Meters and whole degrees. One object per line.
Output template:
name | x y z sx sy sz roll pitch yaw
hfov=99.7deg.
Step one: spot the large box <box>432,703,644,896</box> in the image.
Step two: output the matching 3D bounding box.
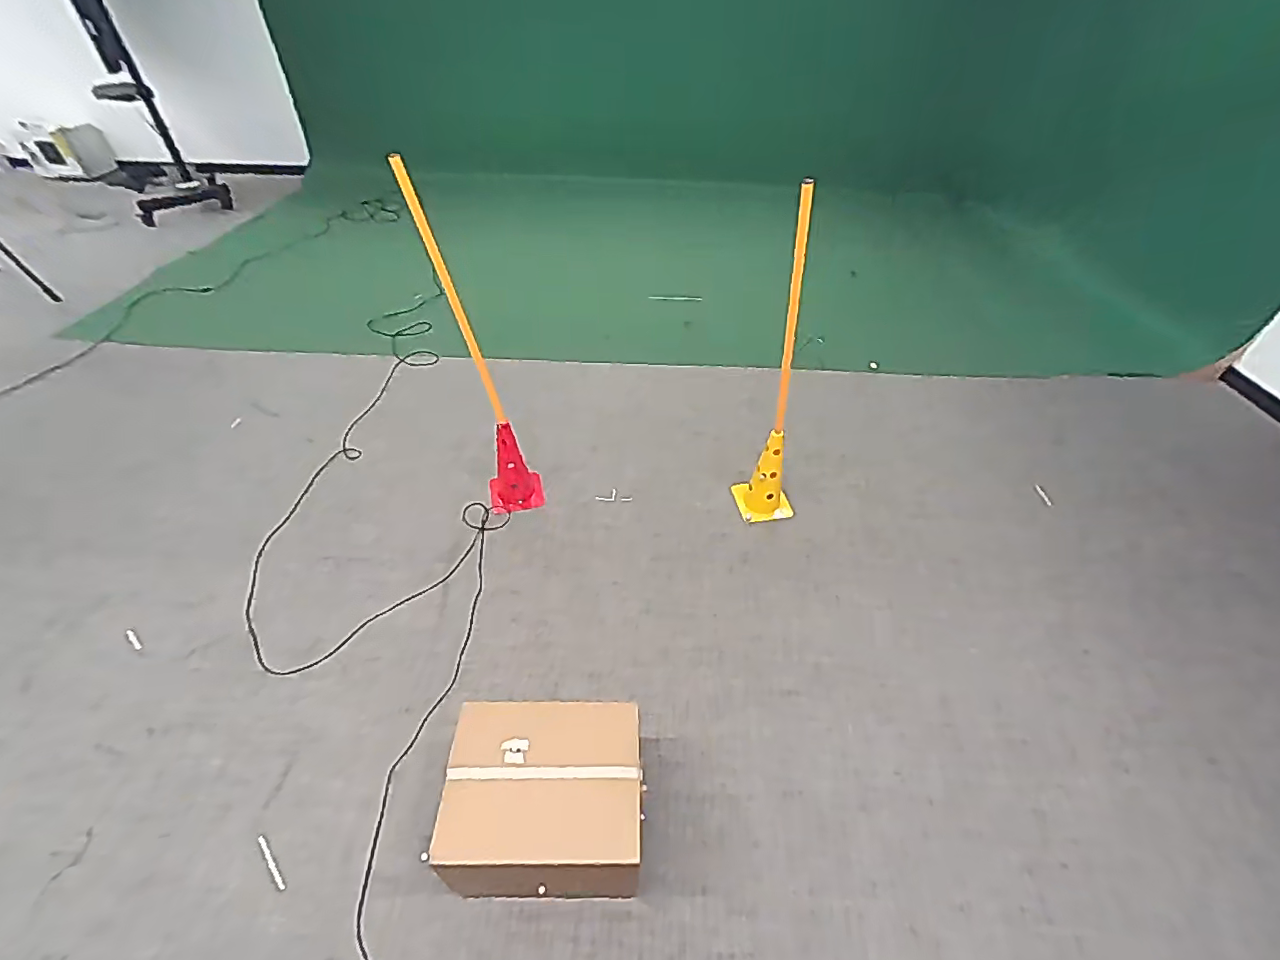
large box | -0.198 0.729 1.233 0.408 0.320 0.320 0 42 -1
